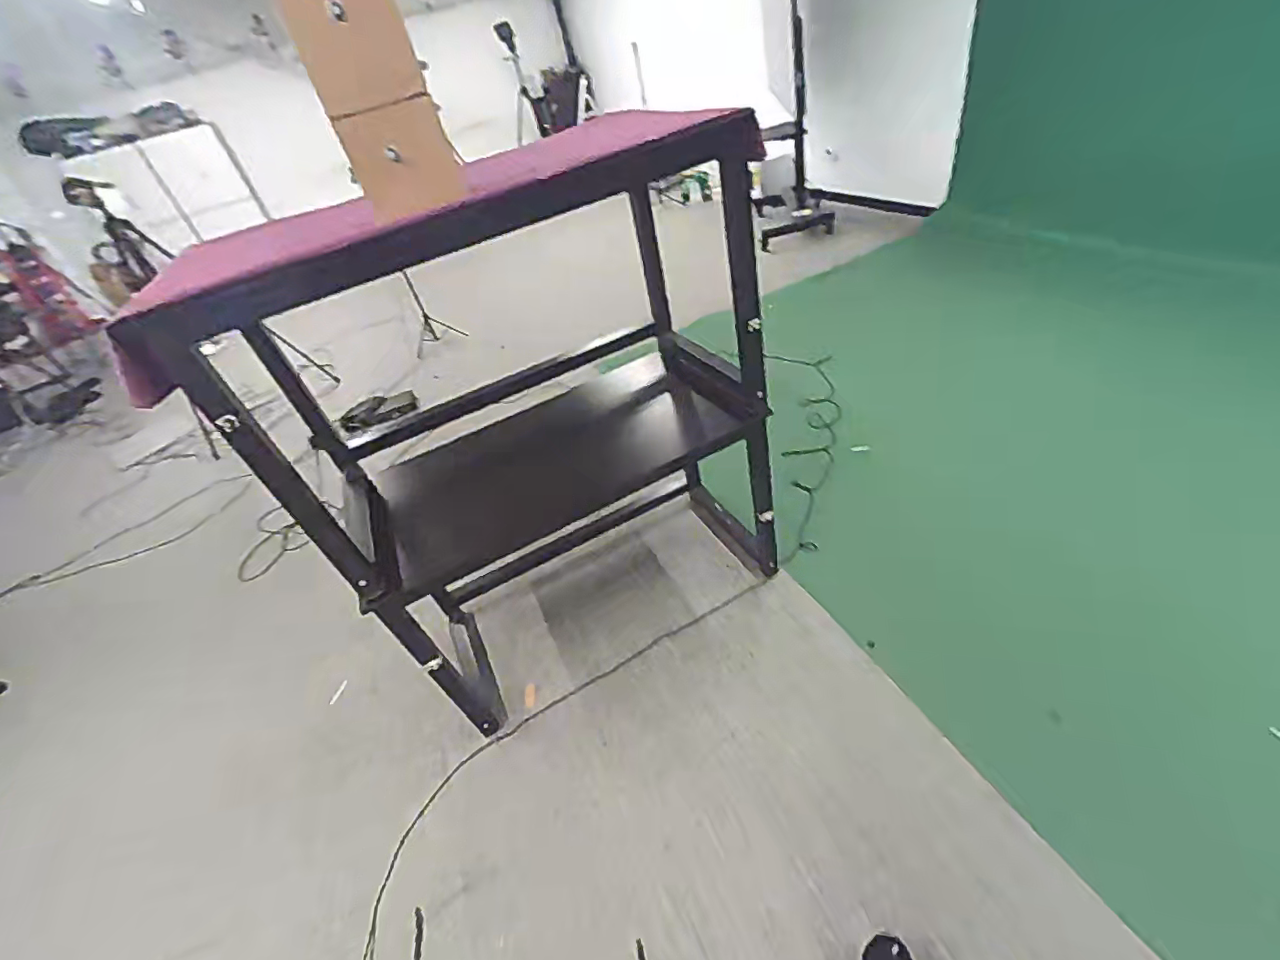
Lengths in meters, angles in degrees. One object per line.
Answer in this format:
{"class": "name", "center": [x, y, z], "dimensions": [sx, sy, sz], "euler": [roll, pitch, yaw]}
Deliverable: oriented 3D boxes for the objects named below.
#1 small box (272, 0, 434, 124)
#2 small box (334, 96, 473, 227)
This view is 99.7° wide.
{"class": "small box", "center": [-0.473, -0.721, 0.917], "dimensions": [0.179, 0.176, 0.168], "euler": [-22, 38, -9]}
{"class": "small box", "center": [-0.439, -0.595, 1.016], "dimensions": [0.179, 0.176, 0.168], "euler": [-25, 39, -10]}
